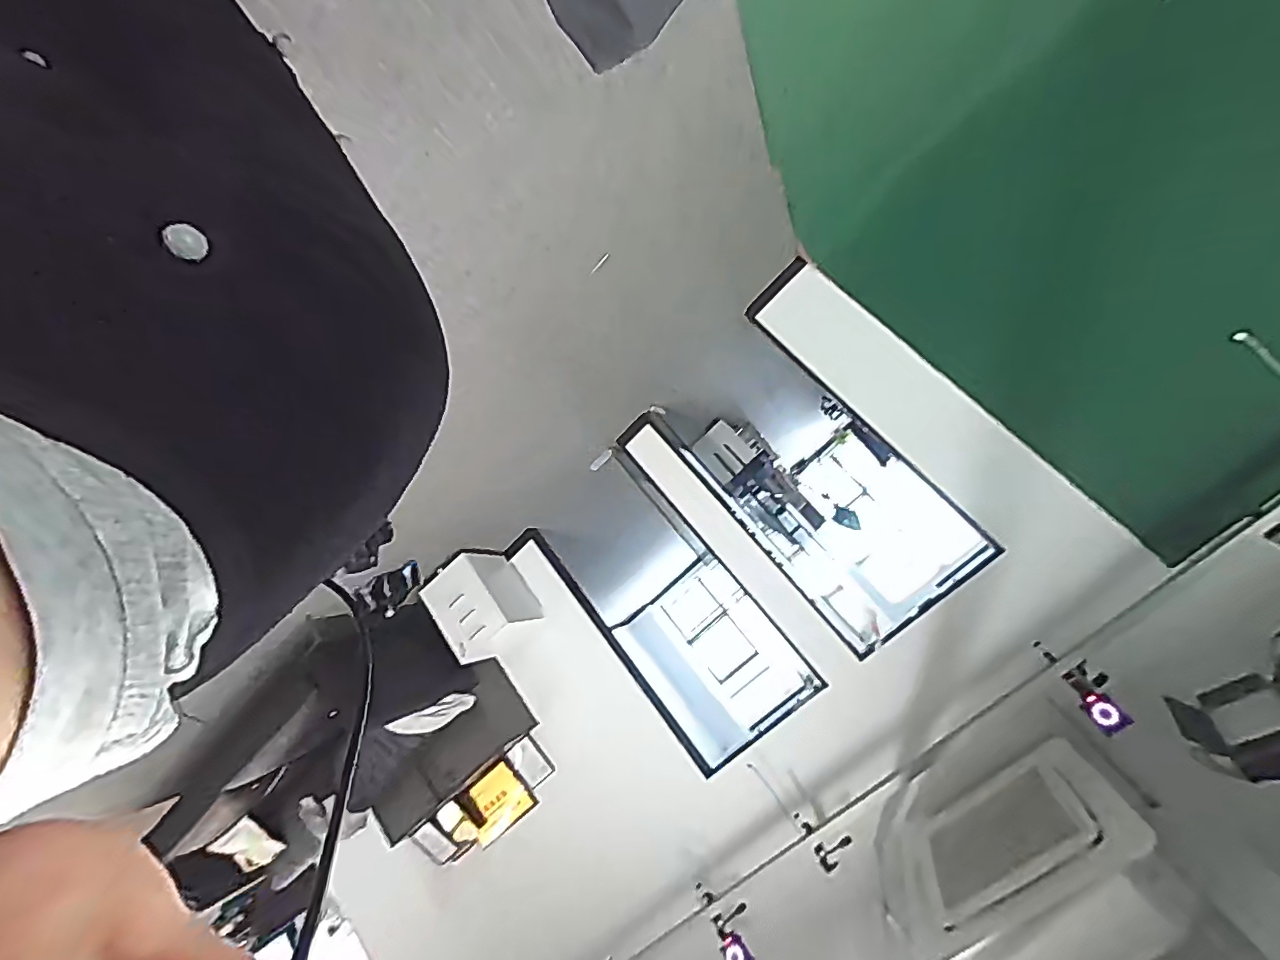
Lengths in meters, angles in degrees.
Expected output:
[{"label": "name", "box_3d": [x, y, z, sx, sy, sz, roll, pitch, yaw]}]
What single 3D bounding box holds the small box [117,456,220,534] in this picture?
[{"label": "small box", "box_3d": [-1.461, 0.047, 1.669, 0.179, 0.176, 0.168, -44, 161, 13]}]
